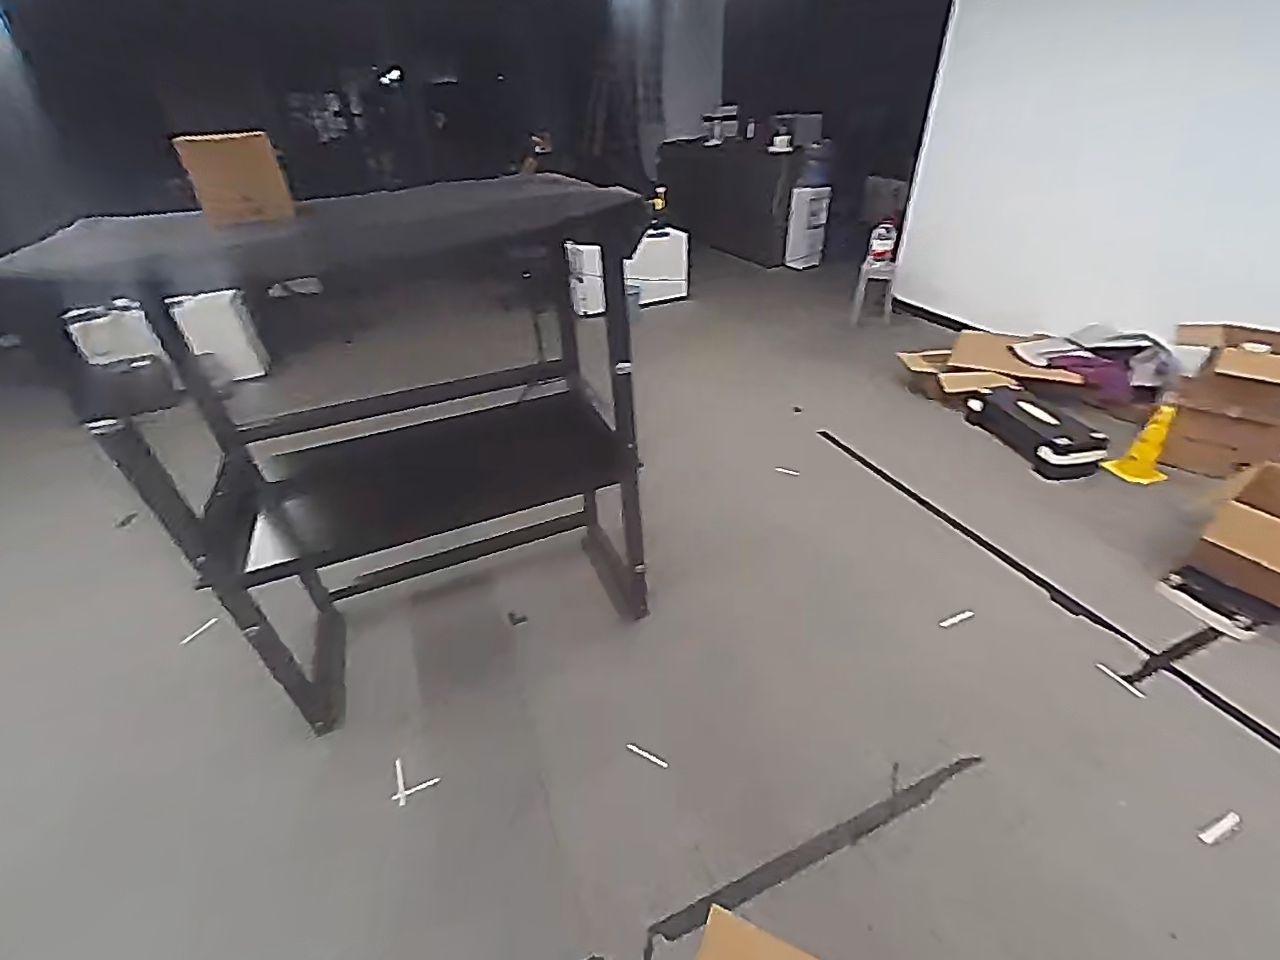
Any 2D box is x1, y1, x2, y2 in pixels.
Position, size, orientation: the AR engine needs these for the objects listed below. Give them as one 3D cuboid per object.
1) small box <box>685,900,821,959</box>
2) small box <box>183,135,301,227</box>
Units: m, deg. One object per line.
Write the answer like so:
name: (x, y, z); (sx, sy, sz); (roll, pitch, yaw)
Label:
small box: (0.115, 0.615, 0.582); (0.168, 0.176, 0.179); (14, 39, 21)
small box: (-0.917, -0.701, 1.266); (0.168, 0.176, 0.179); (-18, 39, -19)
